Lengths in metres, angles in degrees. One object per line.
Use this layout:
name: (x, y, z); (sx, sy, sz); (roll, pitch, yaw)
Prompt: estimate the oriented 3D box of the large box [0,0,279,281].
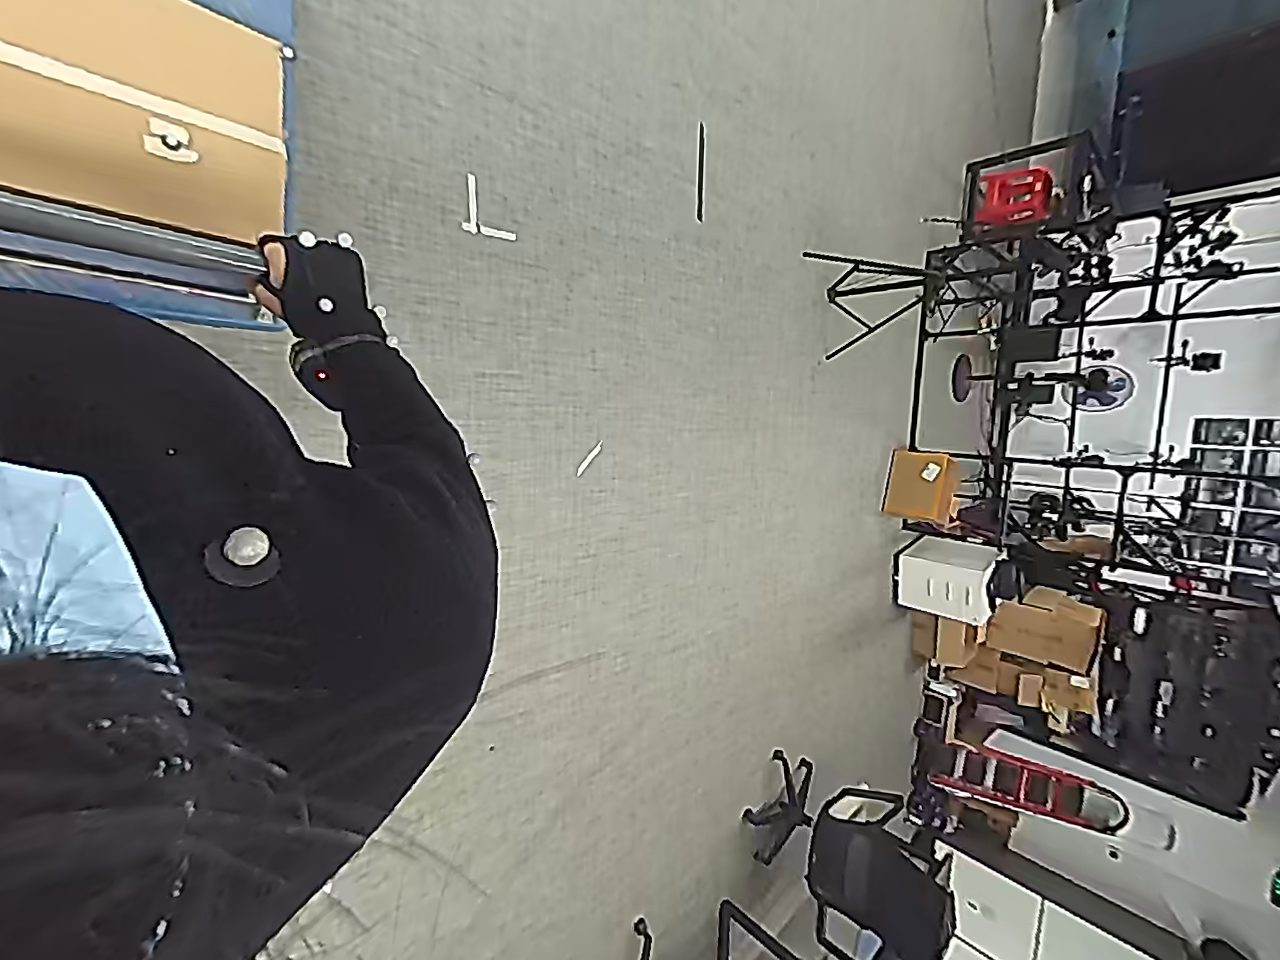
large box: (-0.817, -0.521, 0.814); (0.408, 0.320, 0.320); (-1, 98, -45)
